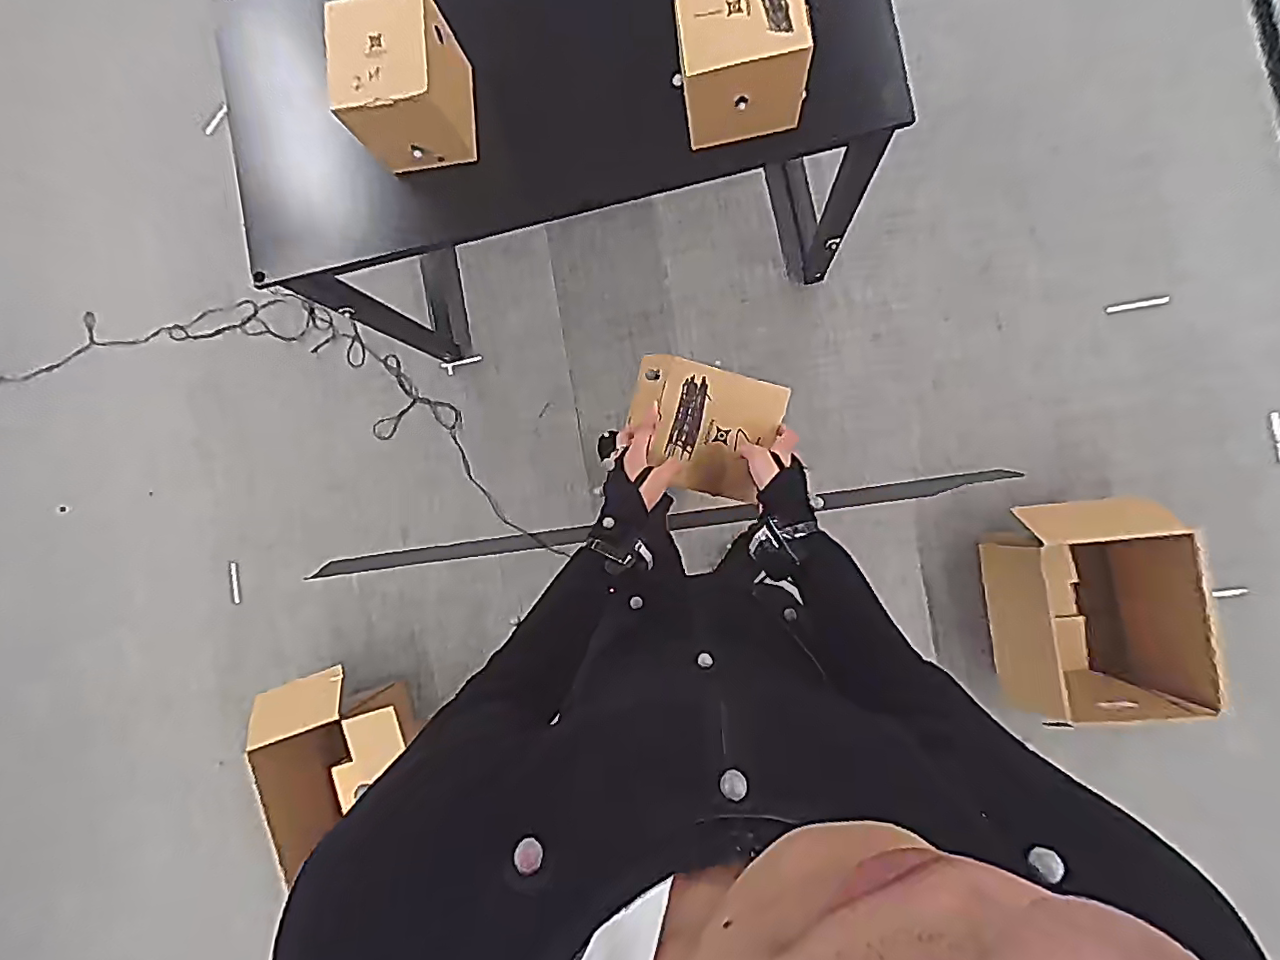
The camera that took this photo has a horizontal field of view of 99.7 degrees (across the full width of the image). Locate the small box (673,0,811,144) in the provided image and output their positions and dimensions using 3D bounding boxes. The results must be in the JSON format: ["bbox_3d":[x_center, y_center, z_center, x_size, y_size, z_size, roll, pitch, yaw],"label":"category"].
[{"bbox_3d":[0.146,-0.651,0.817,0.179,0.176,0.168,-8,87,9],"label":"small box"}]

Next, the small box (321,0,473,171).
[{"bbox_3d":[-0.392,-0.652,0.894,0.168,0.176,0.179,-4,89,8],"label":"small box"}]
